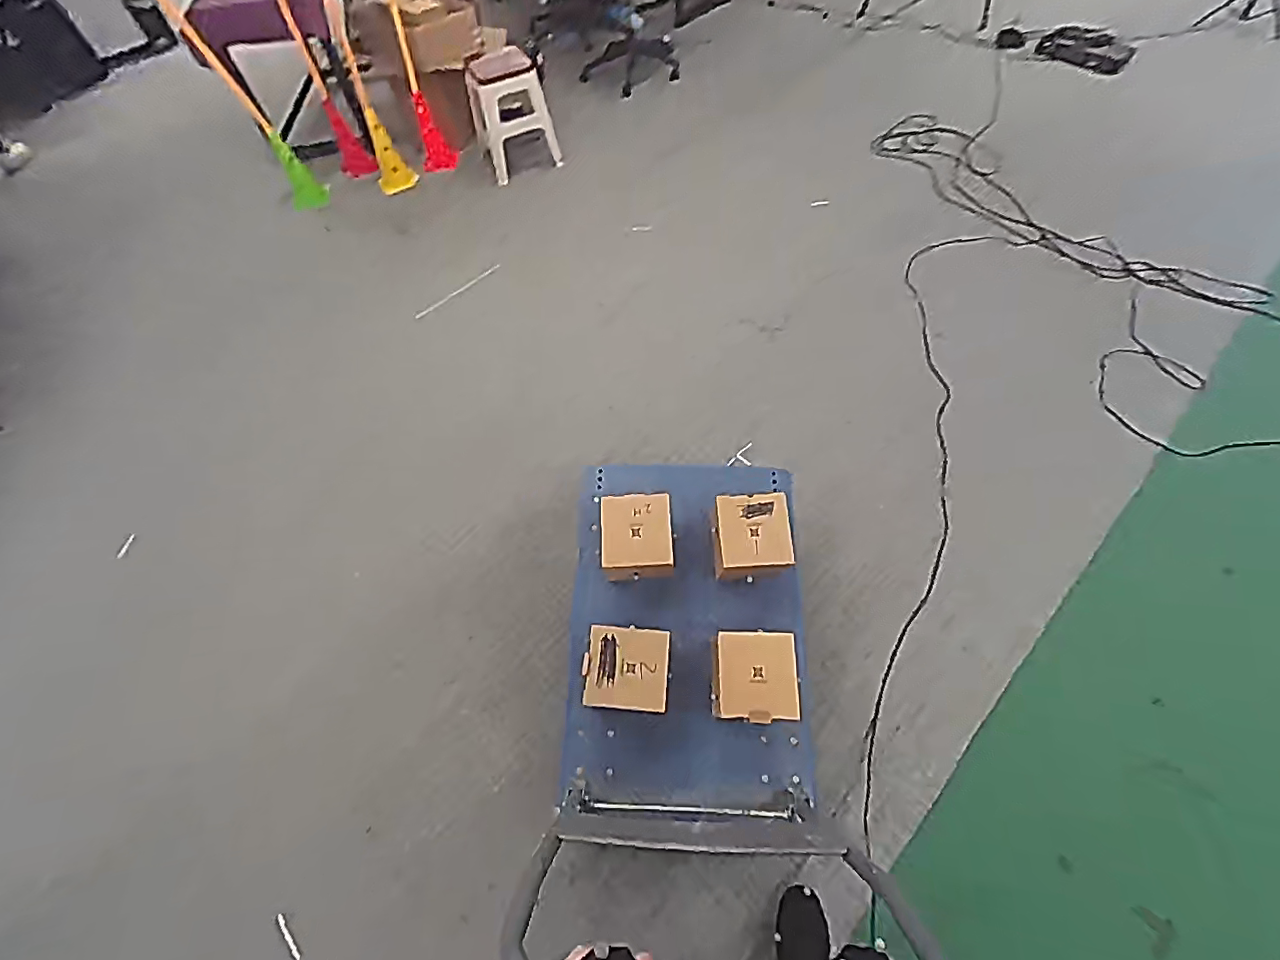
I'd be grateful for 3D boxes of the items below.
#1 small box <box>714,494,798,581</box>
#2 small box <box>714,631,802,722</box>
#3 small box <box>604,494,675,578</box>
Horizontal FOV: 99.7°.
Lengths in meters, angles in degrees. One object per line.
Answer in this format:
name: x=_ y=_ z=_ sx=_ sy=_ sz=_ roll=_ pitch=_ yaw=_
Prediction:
small box: x=0.277 y=0.145 z=1.329 sx=0.168 sy=0.176 sz=0.179 roll=-2 pitch=69 yaw=1
small box: x=0.255 y=0.441 z=1.213 sx=0.168 sy=0.176 sz=0.179 roll=1 pitch=69 yaw=2
small box: x=0.001 y=0.144 z=1.338 sx=0.168 sy=0.176 sz=0.179 roll=-2 pitch=68 yaw=0
